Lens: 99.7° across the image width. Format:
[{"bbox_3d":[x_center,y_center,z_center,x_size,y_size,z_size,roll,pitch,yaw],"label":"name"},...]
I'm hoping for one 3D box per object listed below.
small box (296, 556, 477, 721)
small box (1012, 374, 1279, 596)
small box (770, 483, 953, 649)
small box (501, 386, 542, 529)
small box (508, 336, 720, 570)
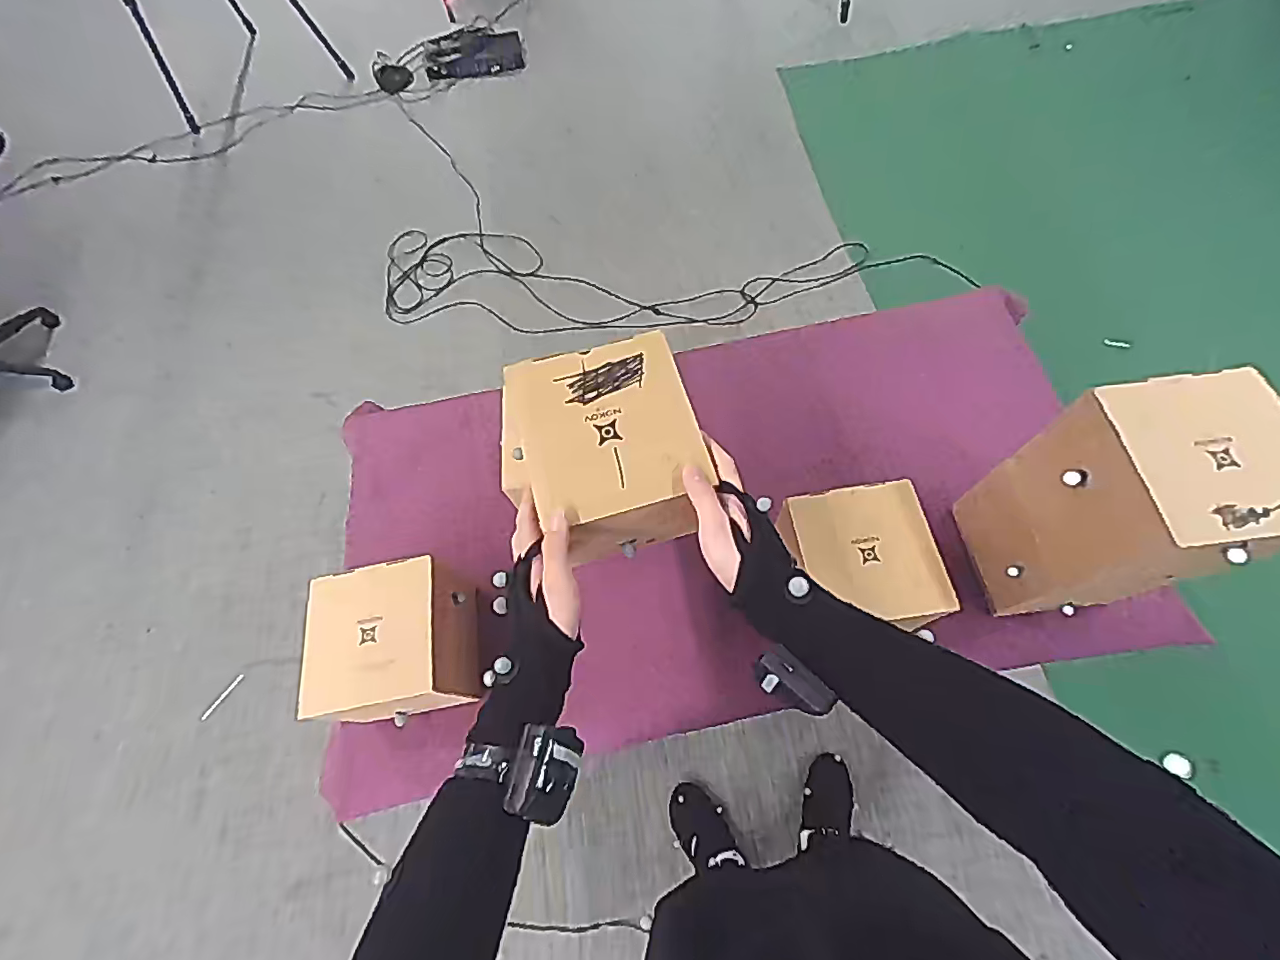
[{"bbox_3d":[-0.334,0.225,0.748,0.168,0.176,0.179,-11,64,0],"label":"small box"},{"bbox_3d":[0.551,0.013,0.585,0.168,0.176,0.179,-8,64,3],"label":"small box"},{"bbox_3d":[0.285,0.127,0.741,0.168,0.176,0.179,-9,63,1],"label":"small box"},{"bbox_3d":[-0.112,-0.038,0.850,0.168,0.176,0.179,-6,66,2],"label":"small box"},{"bbox_3d":[-0.030,-0.020,0.579,0.168,0.176,0.179,-15,71,-6],"label":"small box"}]
